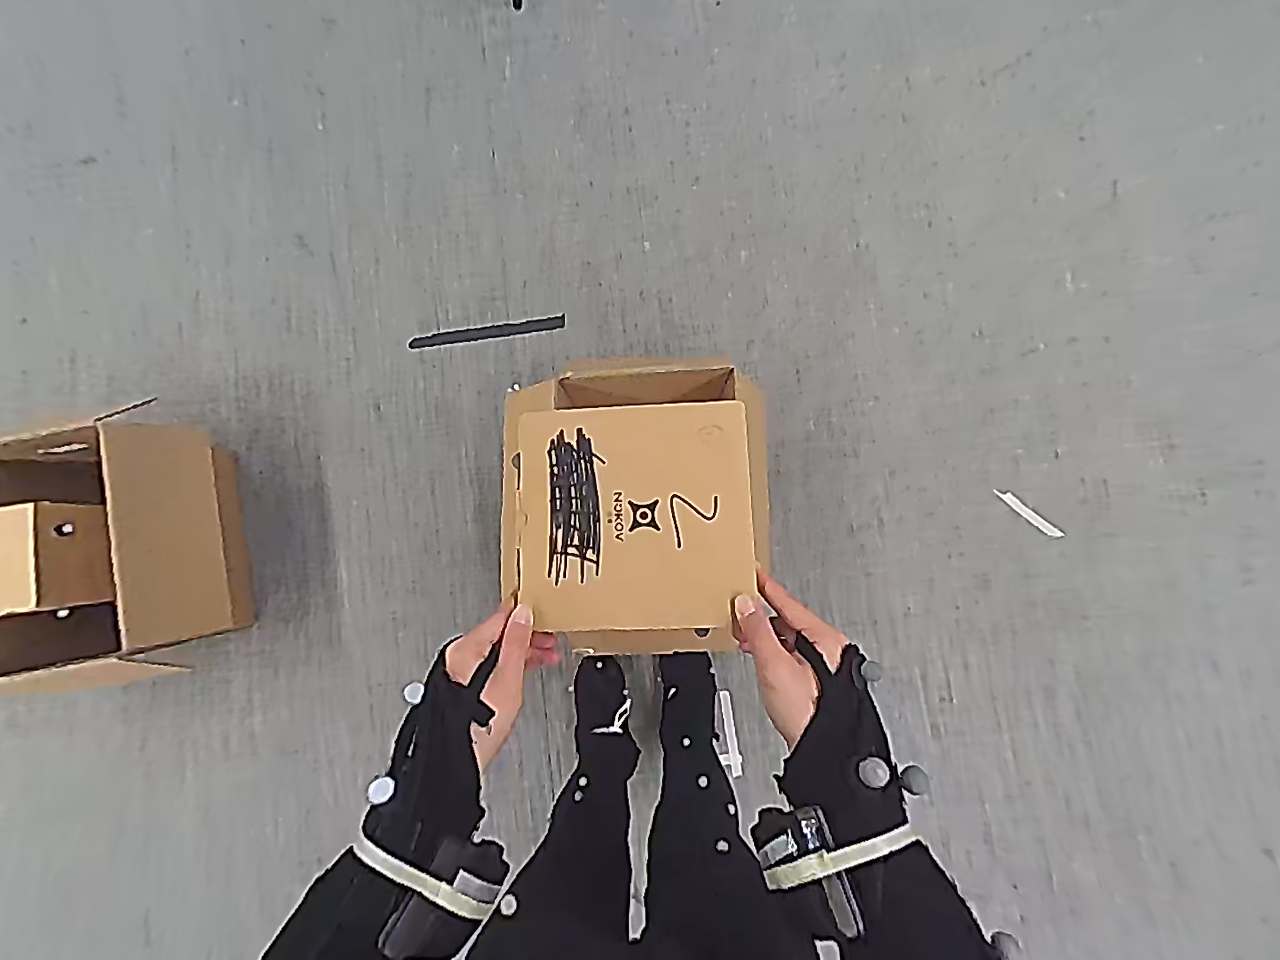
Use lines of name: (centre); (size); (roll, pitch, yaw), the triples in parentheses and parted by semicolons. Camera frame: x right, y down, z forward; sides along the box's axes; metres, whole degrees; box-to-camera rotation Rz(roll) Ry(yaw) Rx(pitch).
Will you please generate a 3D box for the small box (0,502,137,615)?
small box: (-1.046, 0.140, 0.956); (0.168, 0.176, 0.179); (-9, 85, 2)
